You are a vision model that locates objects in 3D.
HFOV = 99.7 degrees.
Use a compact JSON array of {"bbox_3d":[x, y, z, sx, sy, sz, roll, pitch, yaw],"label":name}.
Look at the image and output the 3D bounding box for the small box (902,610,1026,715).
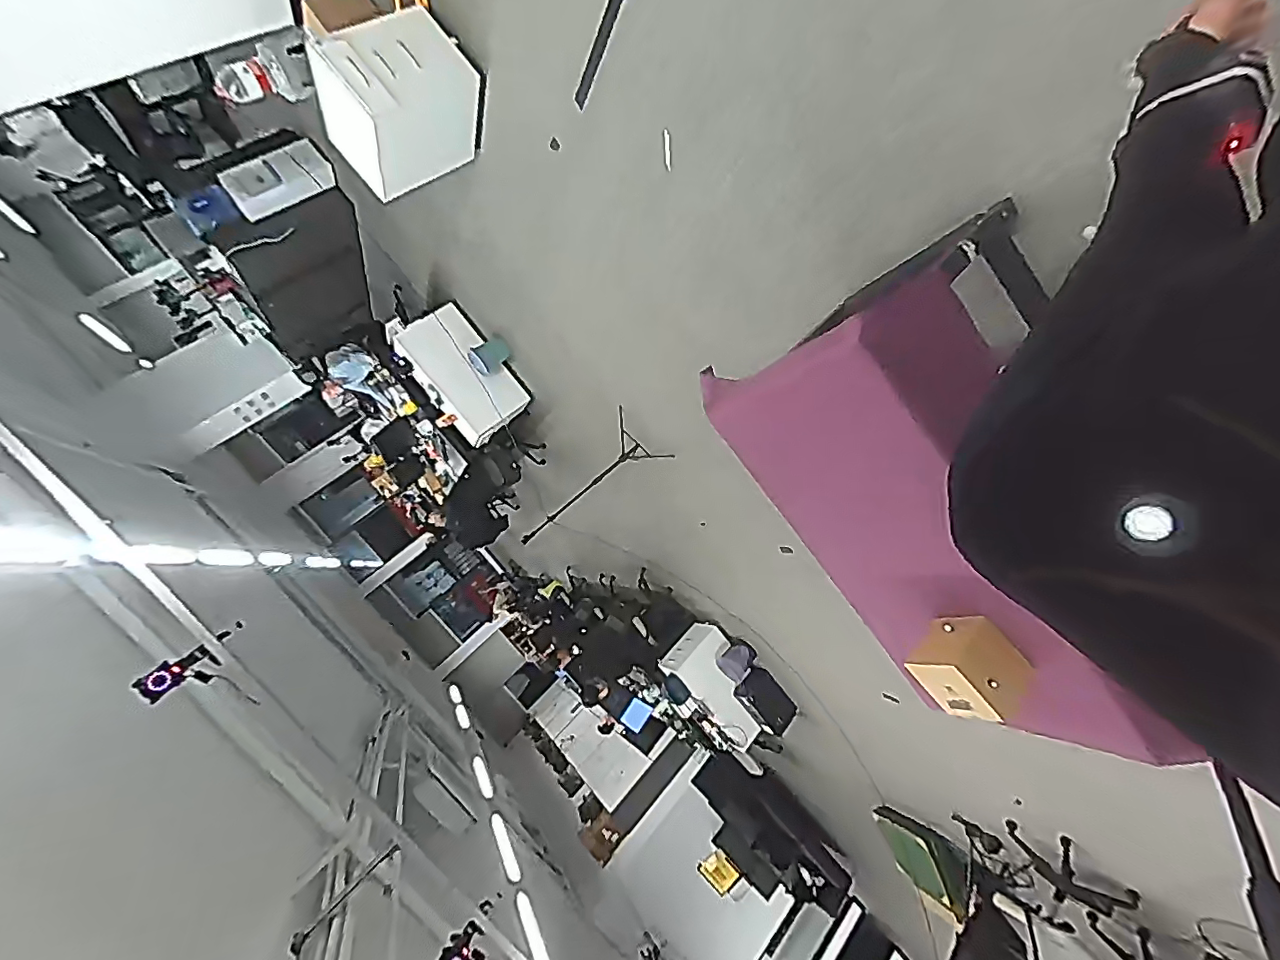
[{"bbox_3d":[0.811,0.449,1.350,0.179,0.176,0.168,48,157,1],"label":"small box"}]
